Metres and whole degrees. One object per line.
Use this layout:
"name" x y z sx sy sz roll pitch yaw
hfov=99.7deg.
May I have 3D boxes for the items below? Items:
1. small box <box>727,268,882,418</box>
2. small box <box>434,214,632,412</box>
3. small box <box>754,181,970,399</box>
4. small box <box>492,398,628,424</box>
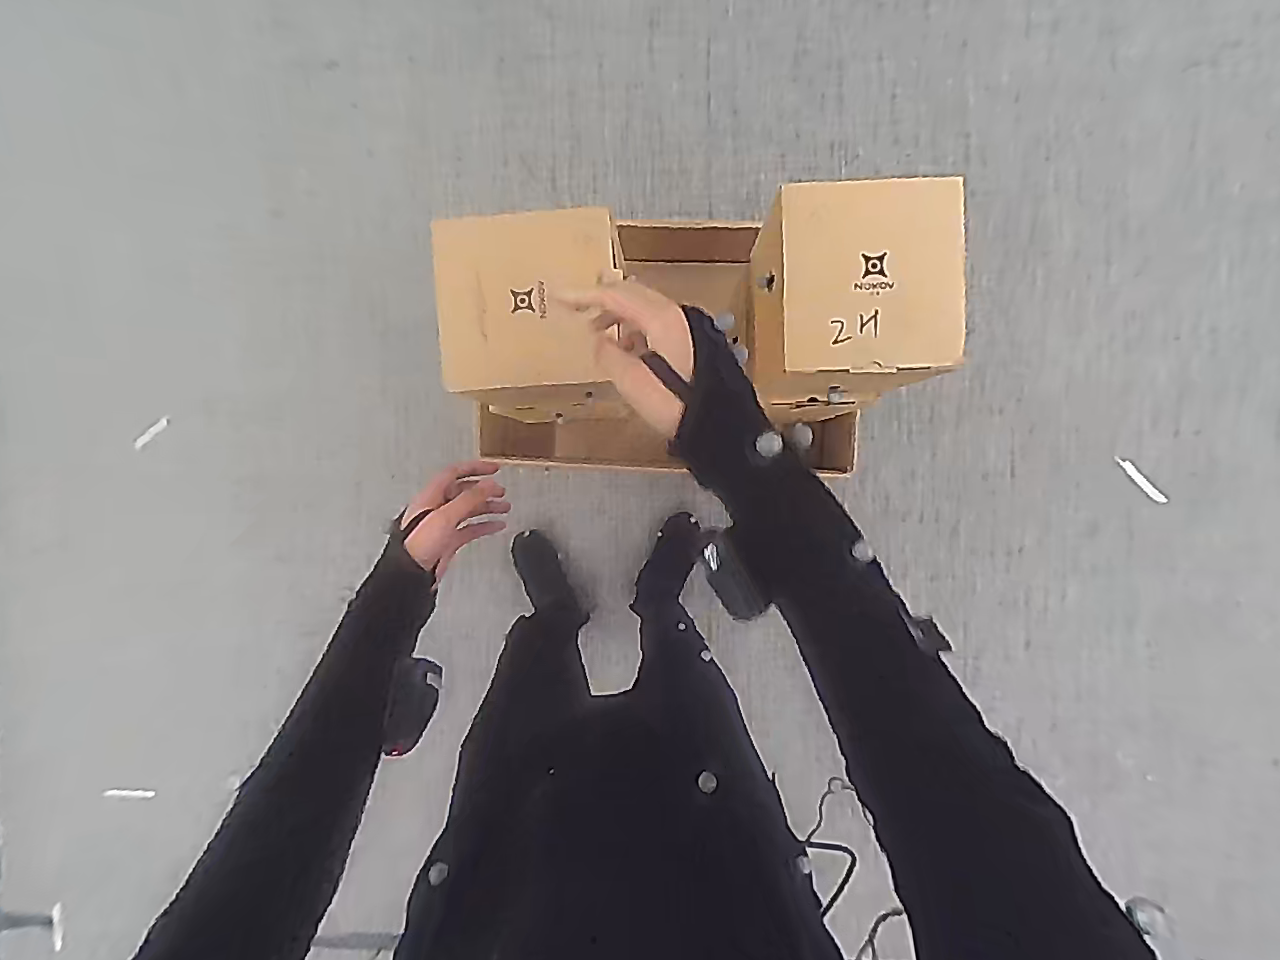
"small box" 0.212 -0.175 0.732 0.168 0.176 0.179 -2 92 1
"small box" -0.100 -0.165 0.584 0.179 0.176 0.168 -4 92 2
"small box" 0.216 -0.183 0.567 0.168 0.176 0.179 -1 93 2
"small box" -0.107 -0.174 0.748 0.168 0.176 0.179 -4 93 3
